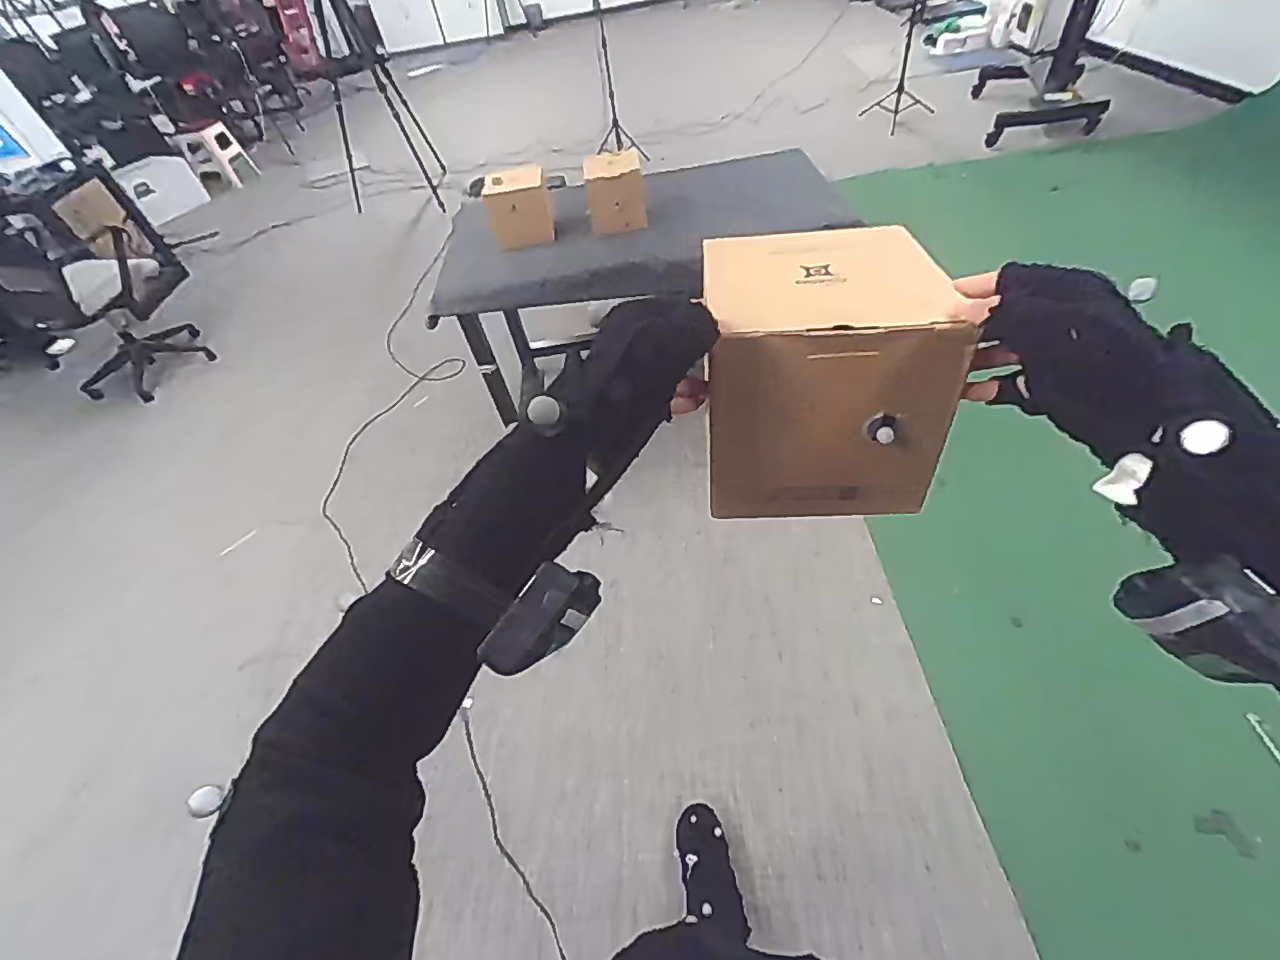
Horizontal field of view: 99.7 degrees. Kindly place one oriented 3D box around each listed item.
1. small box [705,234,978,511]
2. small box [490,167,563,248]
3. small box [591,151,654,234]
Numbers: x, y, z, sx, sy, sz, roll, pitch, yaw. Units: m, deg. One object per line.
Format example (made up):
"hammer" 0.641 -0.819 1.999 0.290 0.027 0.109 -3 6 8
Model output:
"small box" 0.140 -0.087 0.452 0.168 0.176 0.179 0 40 5
"small box" -0.342 -0.830 1.657 0.179 0.176 0.168 -8 48 1
"small box" -0.051 -0.865 1.640 0.168 0.176 0.179 -7 49 3
